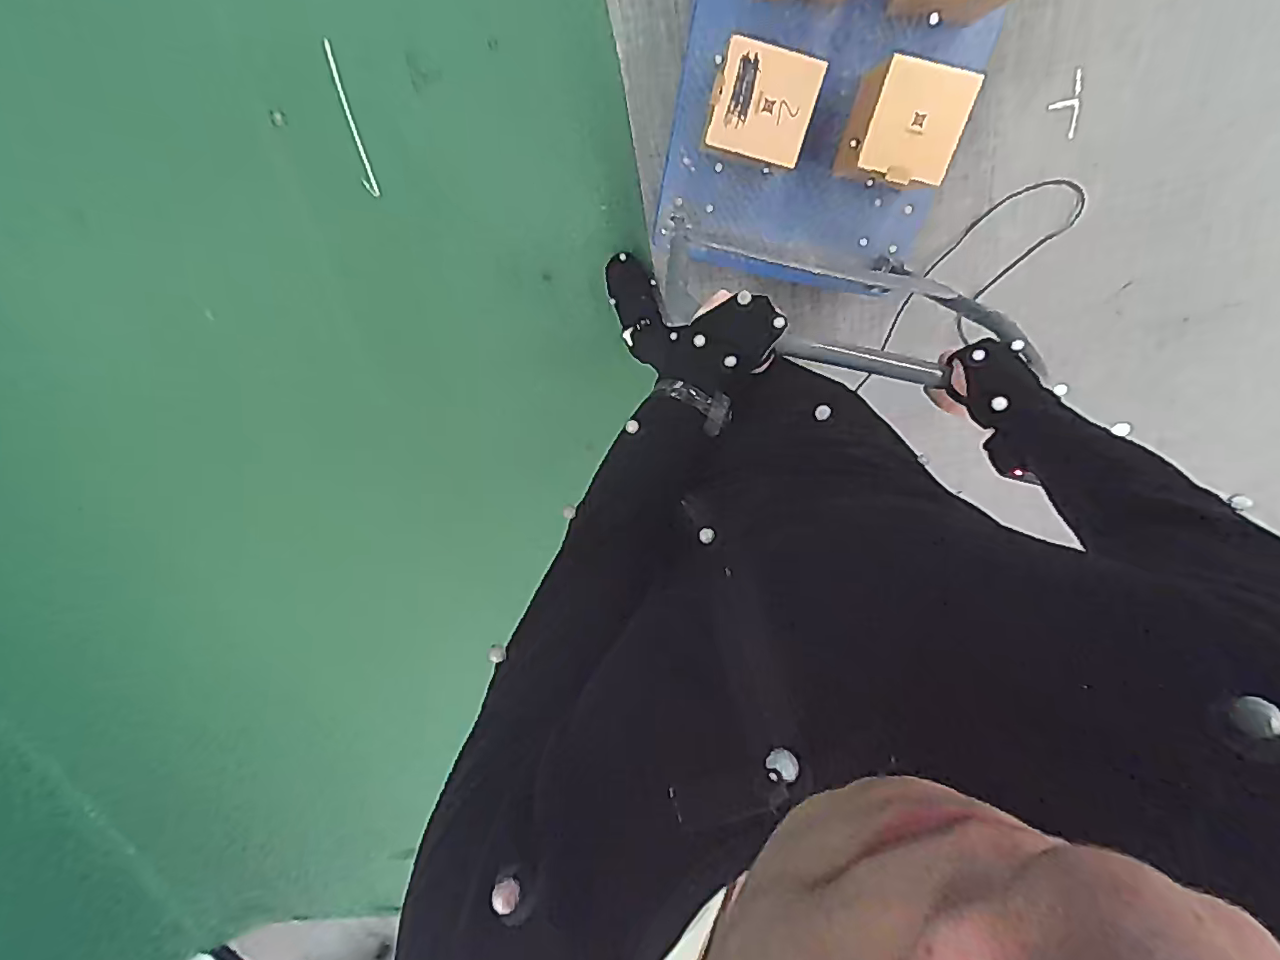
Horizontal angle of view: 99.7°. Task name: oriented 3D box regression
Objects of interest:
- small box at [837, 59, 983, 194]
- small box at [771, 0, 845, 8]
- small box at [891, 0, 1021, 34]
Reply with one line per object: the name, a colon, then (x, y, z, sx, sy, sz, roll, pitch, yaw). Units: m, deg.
small box: (0.502, -0.665, 1.038, 0.168, 0.176, 0.179, 12, 117, -3)
small box: (0.303, -0.934, 0.911, 0.168, 0.176, 0.179, 5, 117, -1)
small box: (0.554, -0.899, 0.916, 0.168, 0.176, 0.179, 7, 117, 0)
